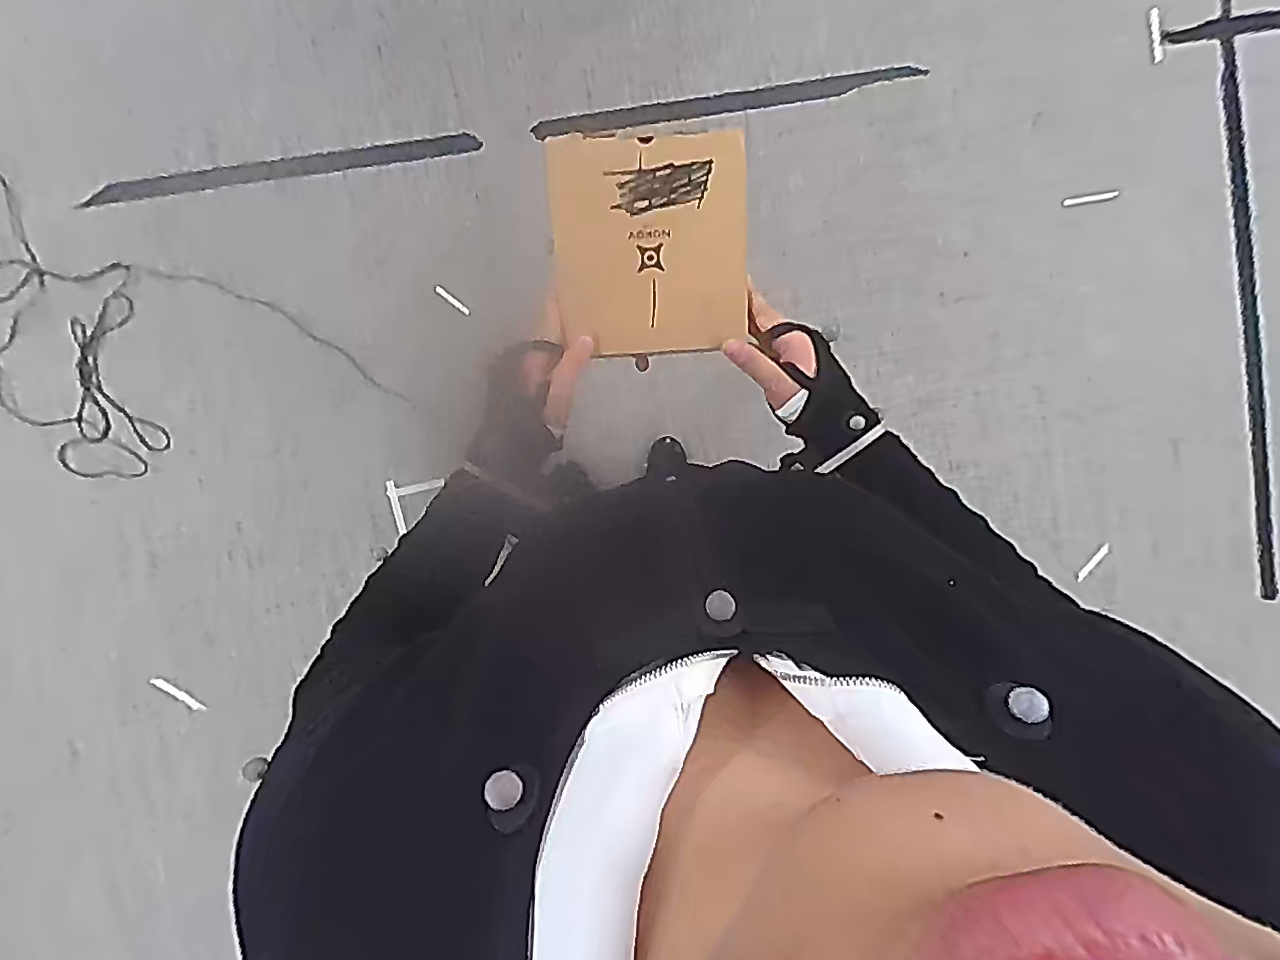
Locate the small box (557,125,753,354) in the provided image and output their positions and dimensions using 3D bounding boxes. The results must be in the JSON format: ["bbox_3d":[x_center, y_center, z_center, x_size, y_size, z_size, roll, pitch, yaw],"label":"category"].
[{"bbox_3d":[0.010,-0.221,0.540,0.168,0.176,0.179,-4,102,-2],"label":"small box"}]
